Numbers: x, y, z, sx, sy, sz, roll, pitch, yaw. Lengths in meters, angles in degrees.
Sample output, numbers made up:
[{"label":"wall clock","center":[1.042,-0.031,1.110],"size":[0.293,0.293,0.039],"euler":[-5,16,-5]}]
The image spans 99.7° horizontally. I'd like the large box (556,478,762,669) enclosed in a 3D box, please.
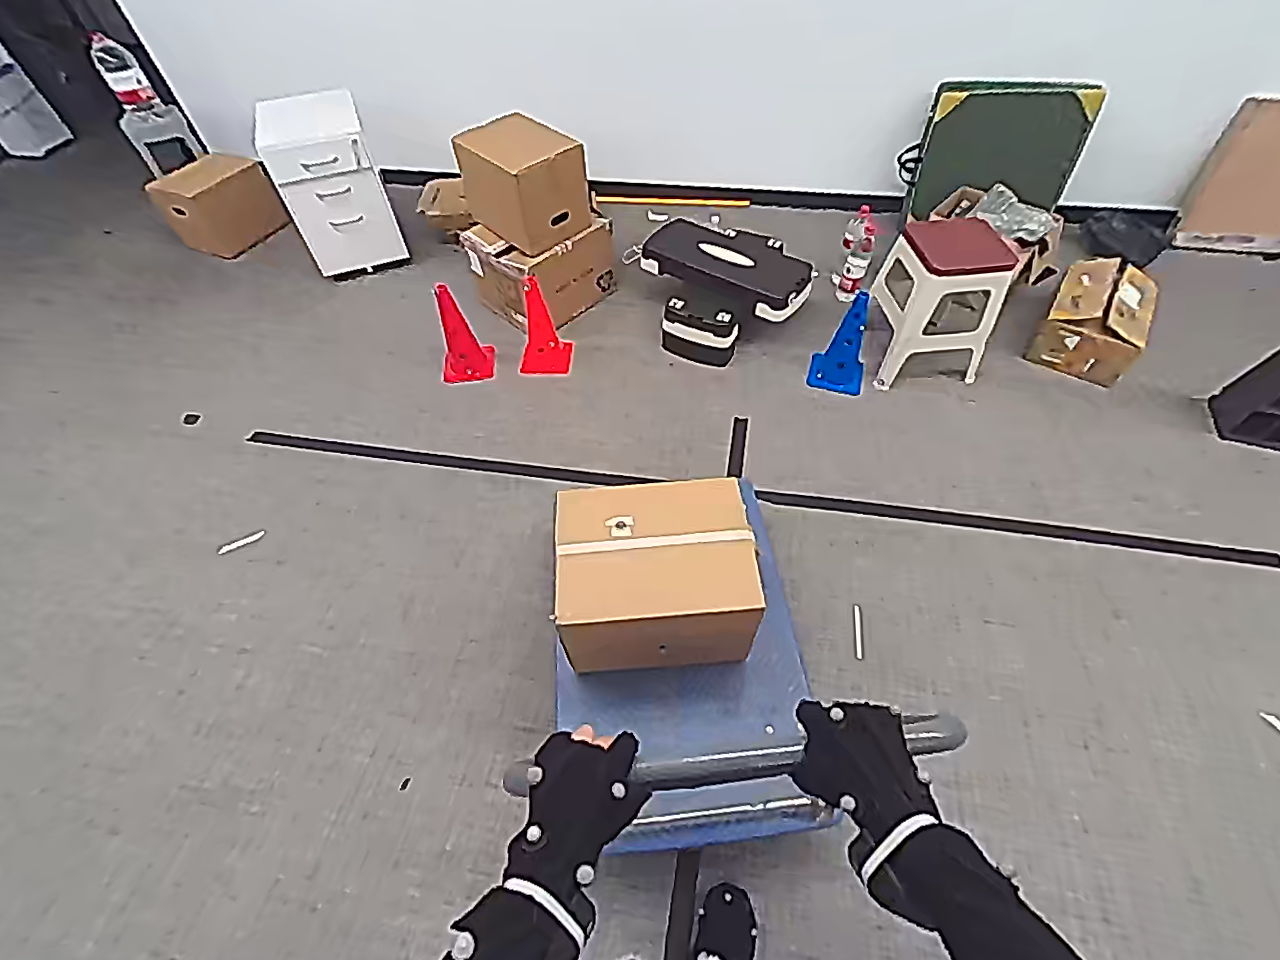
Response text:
[{"label":"large box","center":[0.034,0.223,1.239],"size":[0.408,0.320,0.320],"euler":[-5,54,0]}]
